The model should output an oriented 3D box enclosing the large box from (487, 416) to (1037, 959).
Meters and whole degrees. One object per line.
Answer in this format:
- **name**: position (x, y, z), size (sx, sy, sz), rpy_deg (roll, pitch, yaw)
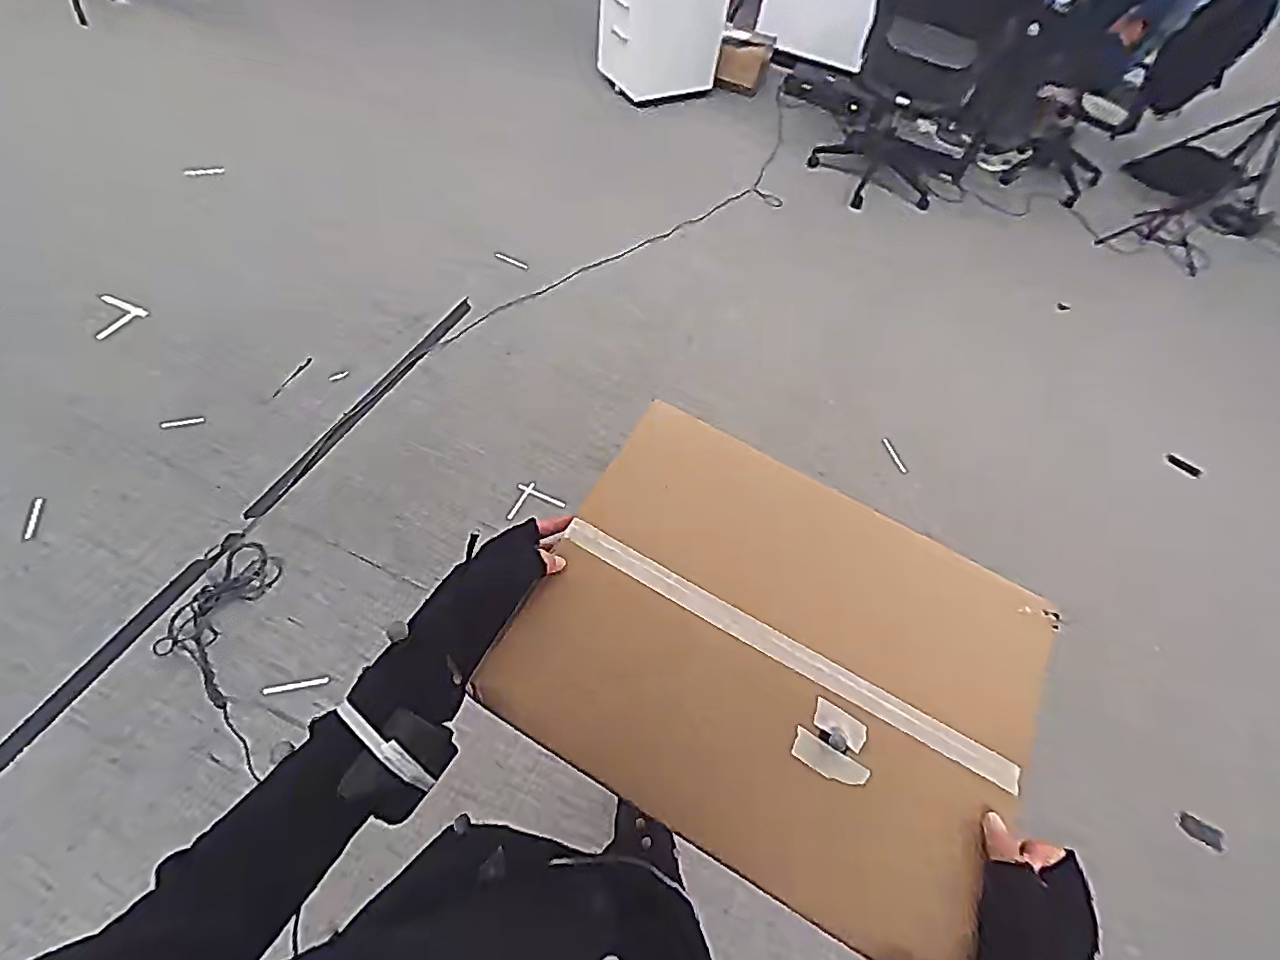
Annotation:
- **large box**: position (0.107, 0.202, 0.599), size (0.408, 0.320, 0.320), rpy_deg (29, 69, 8)
